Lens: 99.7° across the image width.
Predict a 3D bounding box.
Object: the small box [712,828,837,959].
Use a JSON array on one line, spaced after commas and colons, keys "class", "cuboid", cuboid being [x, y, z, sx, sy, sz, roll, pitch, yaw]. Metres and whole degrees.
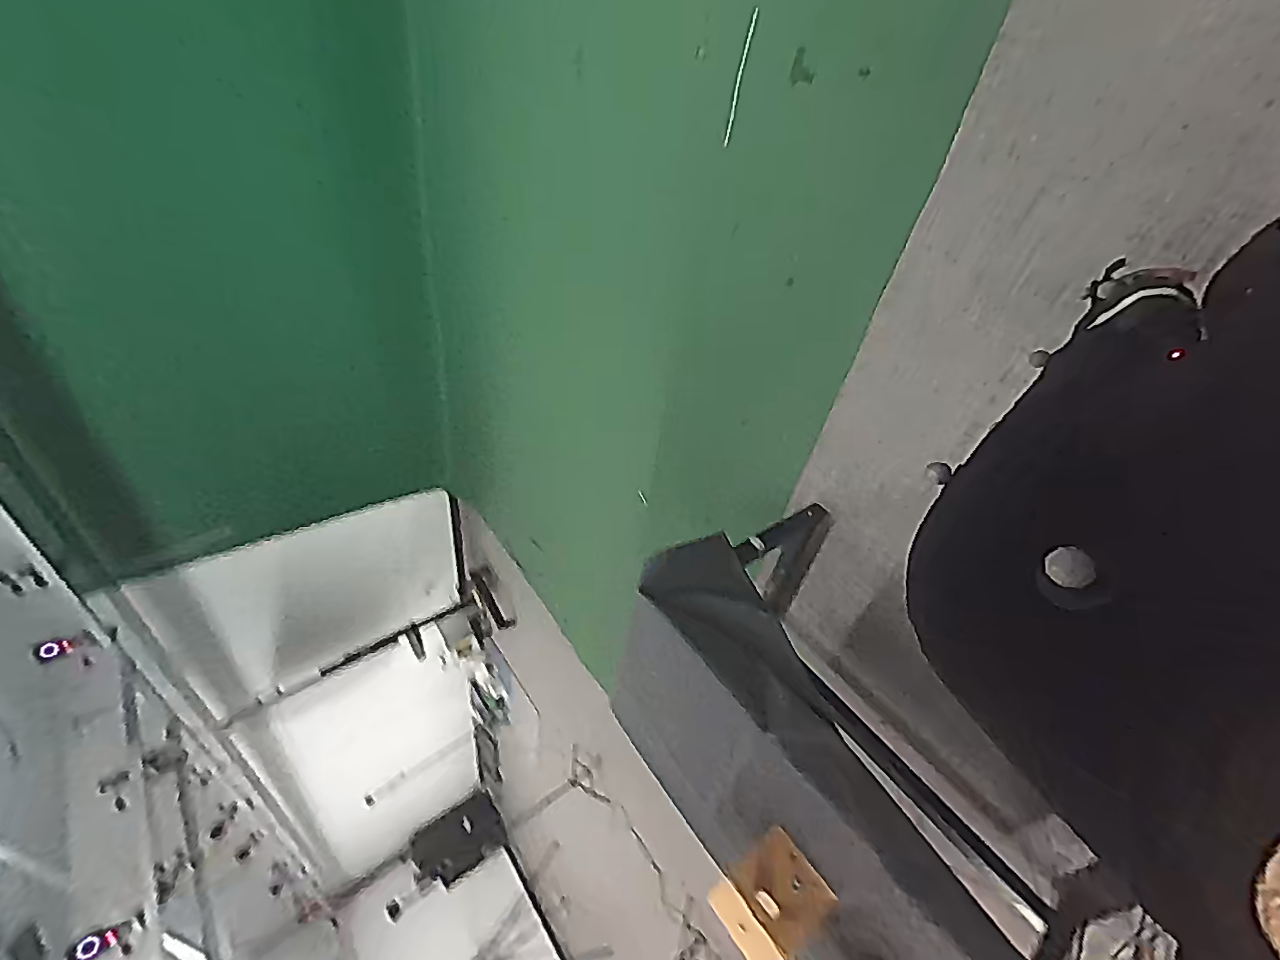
[{"class": "small box", "cuboid": [0.283, 0.887, 1.144, 0.168, 0.176, 0.179, 44, 139, 34]}]
